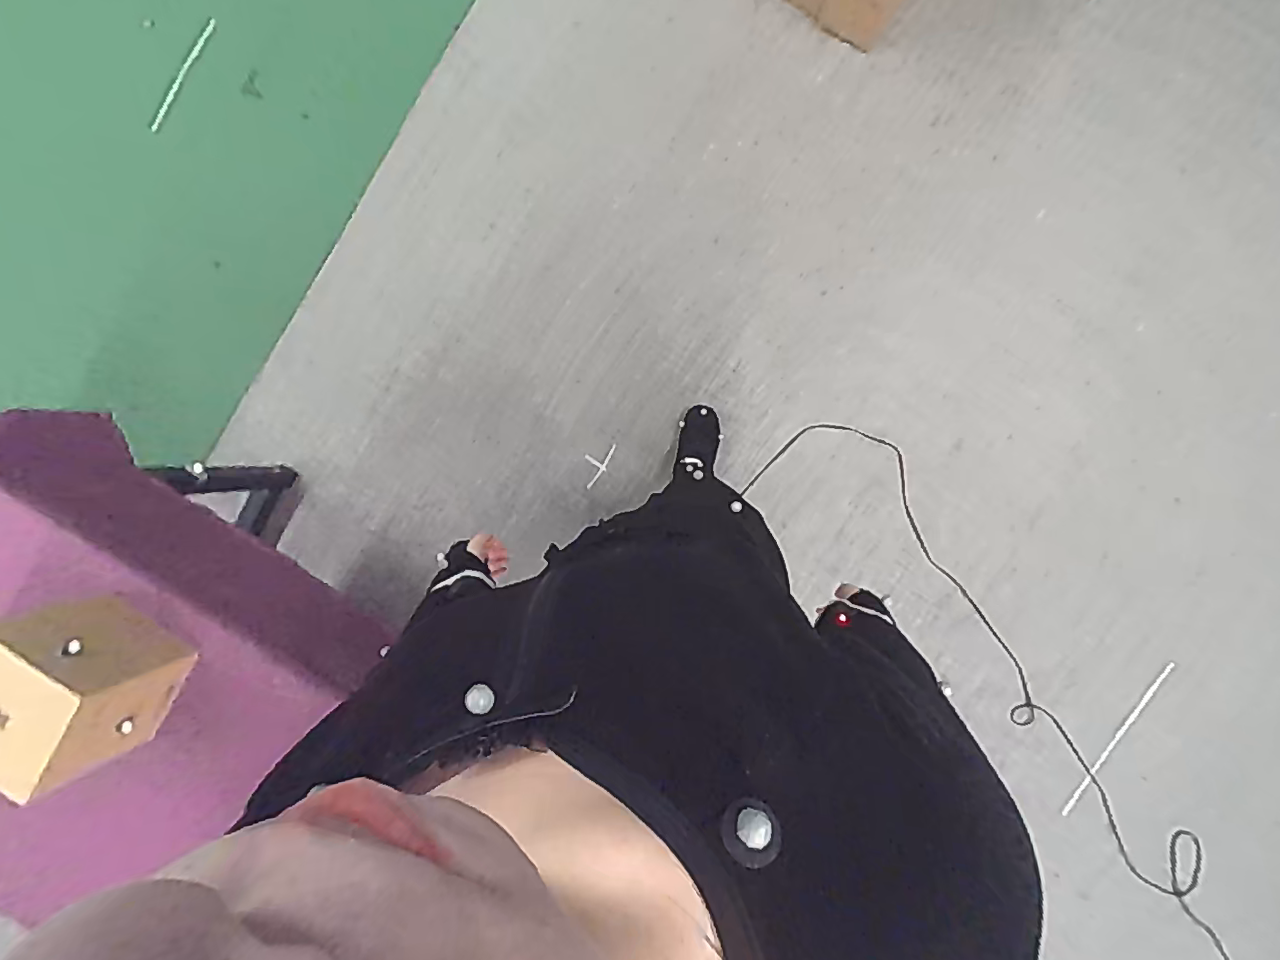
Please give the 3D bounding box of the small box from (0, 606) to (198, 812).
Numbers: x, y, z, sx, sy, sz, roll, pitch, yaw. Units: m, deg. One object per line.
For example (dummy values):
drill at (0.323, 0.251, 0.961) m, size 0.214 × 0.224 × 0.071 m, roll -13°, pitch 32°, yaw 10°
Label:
small box at (-0.780, 0.299, 0.750) m, size 0.179 × 0.176 × 0.168 m, roll 32°, pitch 93°, yaw 3°
